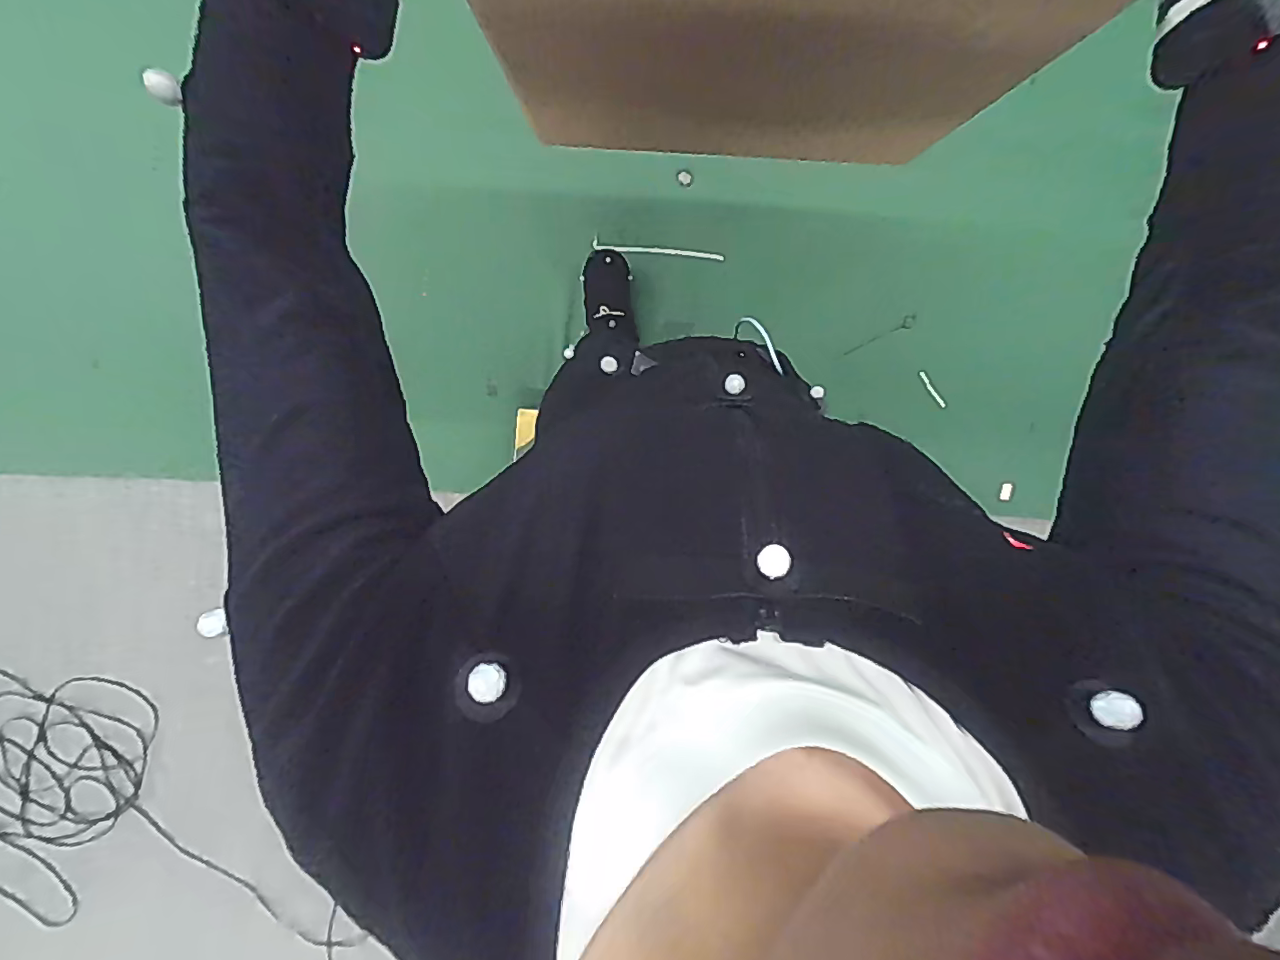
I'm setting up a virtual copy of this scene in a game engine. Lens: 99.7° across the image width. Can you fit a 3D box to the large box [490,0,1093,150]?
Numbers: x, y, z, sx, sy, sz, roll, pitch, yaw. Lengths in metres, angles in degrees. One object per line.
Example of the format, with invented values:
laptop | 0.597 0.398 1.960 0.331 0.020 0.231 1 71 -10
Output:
large box | 0.097 -0.477 0.411 0.408 0.320 0.320 2 104 -1
